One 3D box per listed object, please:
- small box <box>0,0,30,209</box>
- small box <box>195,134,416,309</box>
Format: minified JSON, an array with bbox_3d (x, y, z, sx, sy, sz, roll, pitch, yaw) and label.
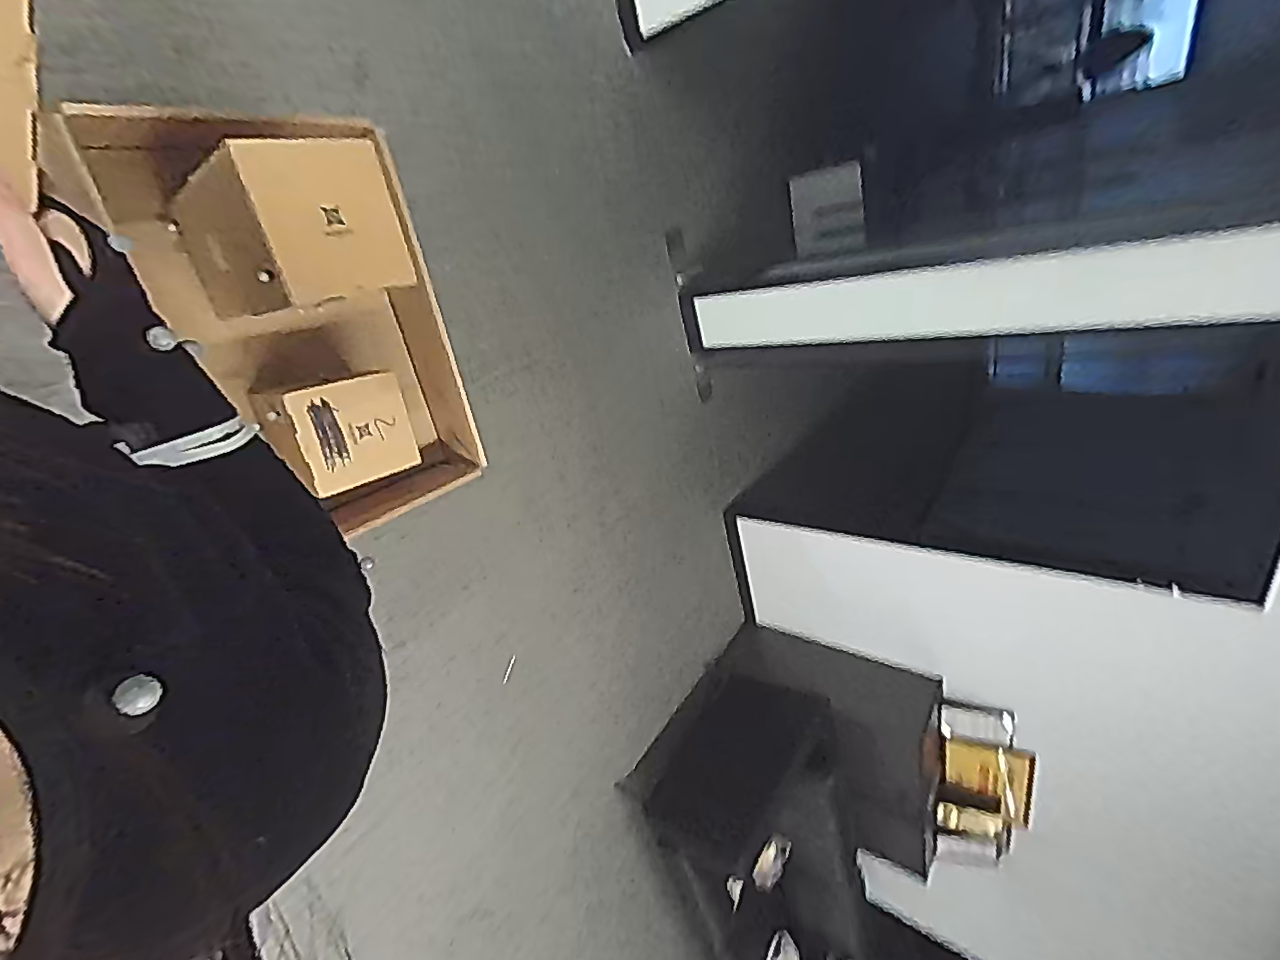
[{"bbox_3d":[-0.481,-0.253,0.296,0.179,0.176,0.168,-6,104,-56],"label":"small box"},{"bbox_3d":[-0.436,-0.333,0.710,0.168,0.176,0.179,-35,124,-42],"label":"small box"}]
